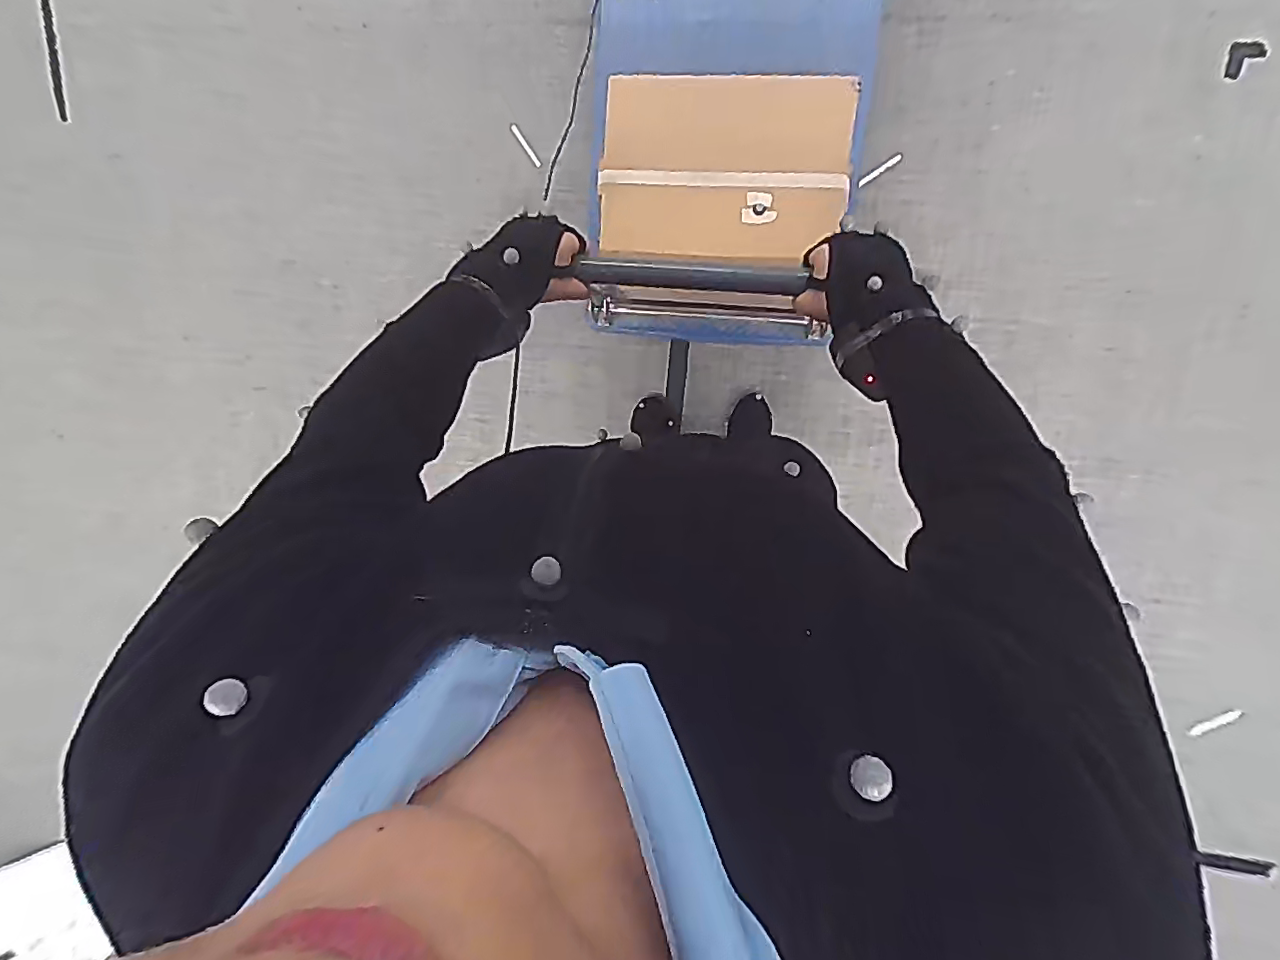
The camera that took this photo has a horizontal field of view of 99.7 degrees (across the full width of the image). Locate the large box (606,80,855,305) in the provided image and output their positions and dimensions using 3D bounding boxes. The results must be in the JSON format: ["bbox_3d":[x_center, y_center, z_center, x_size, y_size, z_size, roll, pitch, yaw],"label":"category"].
[{"bbox_3d":[0.159,-0.528,1.058,0.408,0.320,0.320,5,101,7],"label":"large box"}]
